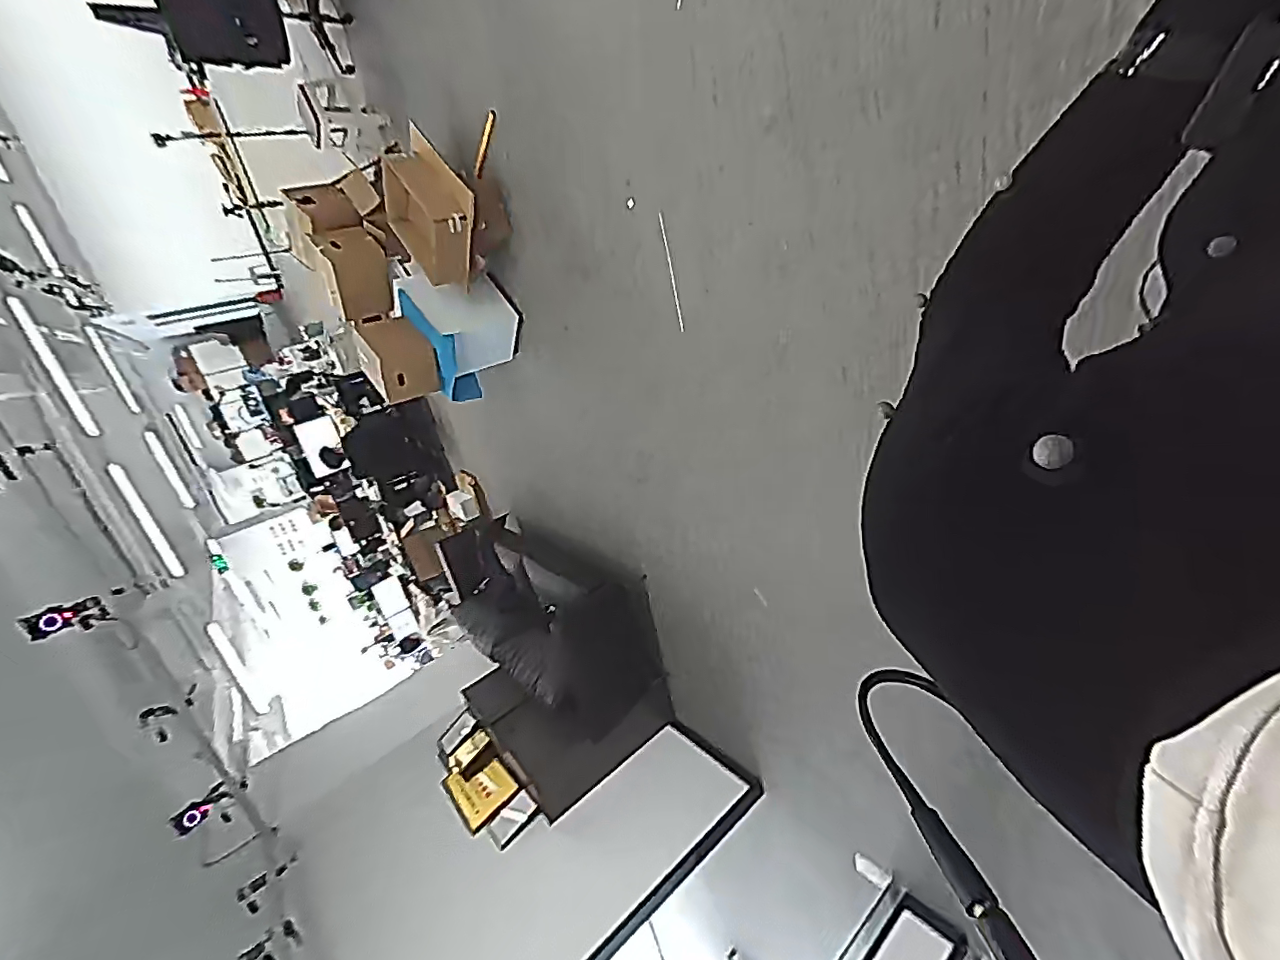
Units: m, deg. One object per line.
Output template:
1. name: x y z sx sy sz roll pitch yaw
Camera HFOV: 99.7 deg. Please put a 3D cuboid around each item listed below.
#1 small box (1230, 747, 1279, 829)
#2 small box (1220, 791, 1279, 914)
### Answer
1. small box: 1.535 0.759 1.257 0.179 0.176 0.168 20 128 49
2. small box: 1.414 0.823 1.165 0.179 0.176 0.168 21 128 49
